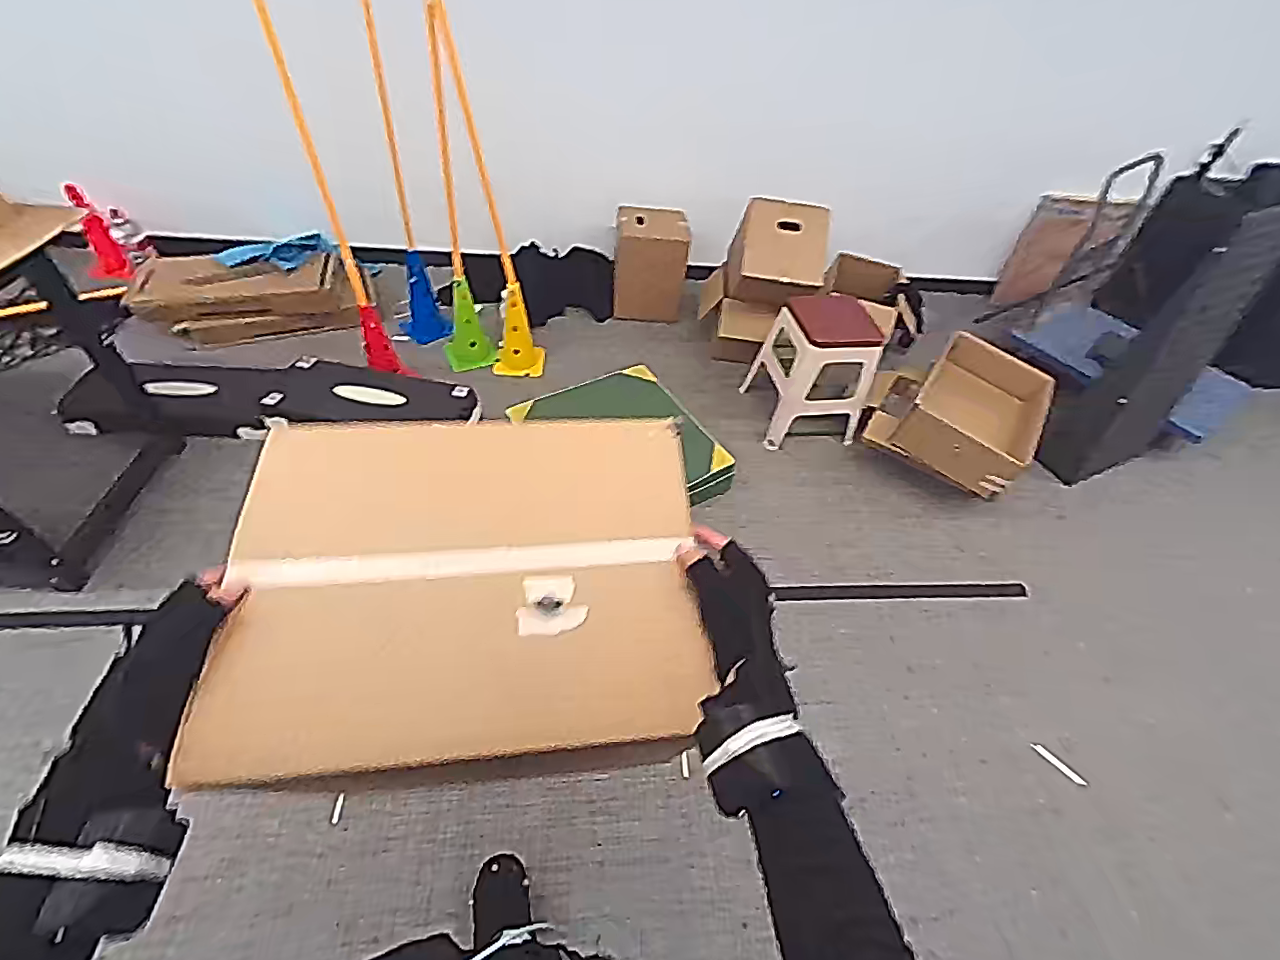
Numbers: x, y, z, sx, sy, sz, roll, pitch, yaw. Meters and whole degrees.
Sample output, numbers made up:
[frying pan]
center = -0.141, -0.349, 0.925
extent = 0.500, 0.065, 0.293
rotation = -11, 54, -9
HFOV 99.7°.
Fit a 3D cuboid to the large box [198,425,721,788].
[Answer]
[large box]
center = -0.161, 0.151, 0.621
extent = 0.408, 0.320, 0.320
rotation = -1, 60, -9
